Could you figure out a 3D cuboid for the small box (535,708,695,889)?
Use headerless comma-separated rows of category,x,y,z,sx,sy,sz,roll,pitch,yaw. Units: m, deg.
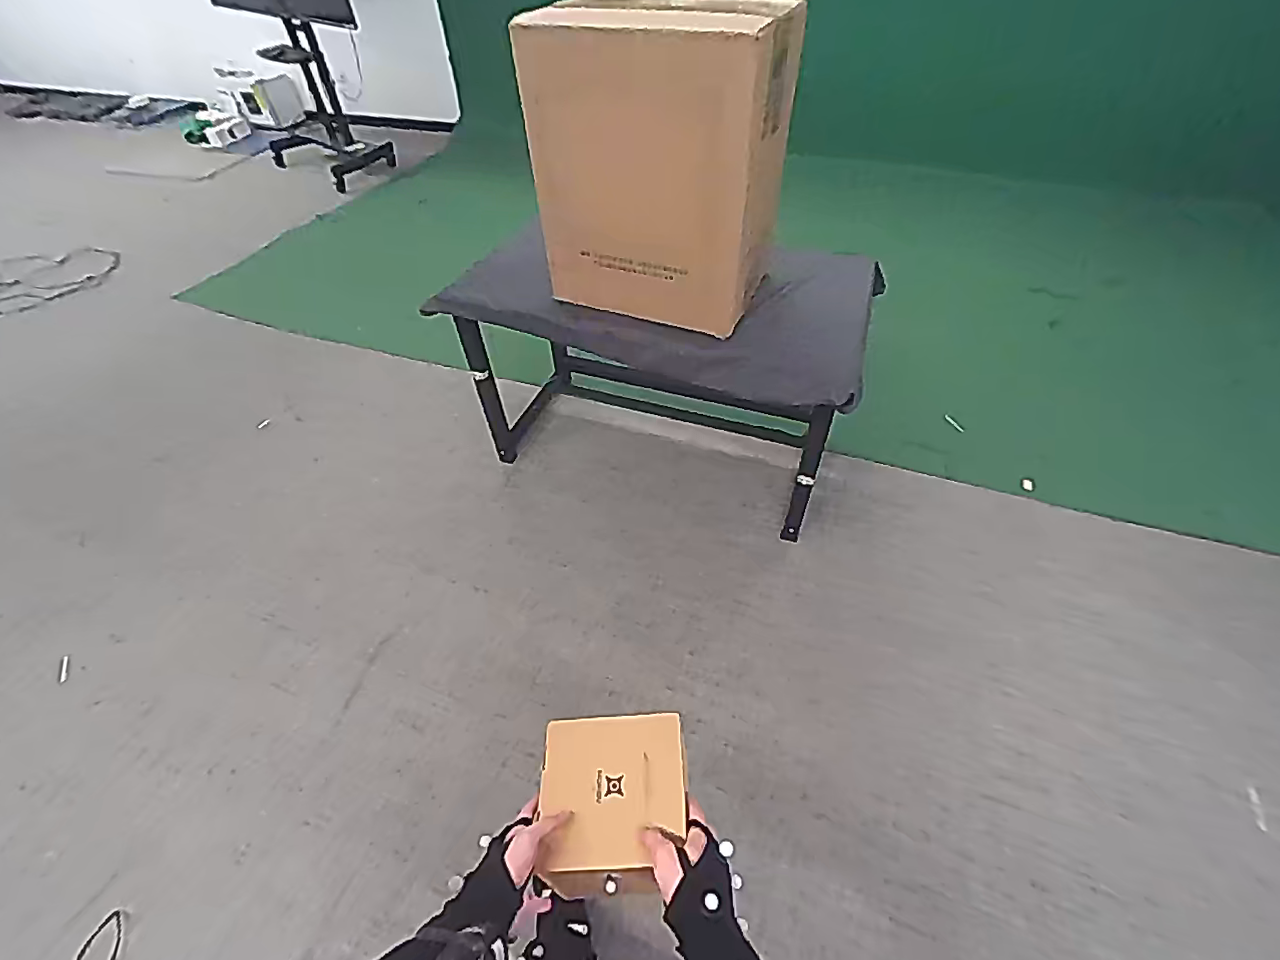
small box,-0.025,0.418,0.707,0.179,0.176,0.168,-5,45,2
